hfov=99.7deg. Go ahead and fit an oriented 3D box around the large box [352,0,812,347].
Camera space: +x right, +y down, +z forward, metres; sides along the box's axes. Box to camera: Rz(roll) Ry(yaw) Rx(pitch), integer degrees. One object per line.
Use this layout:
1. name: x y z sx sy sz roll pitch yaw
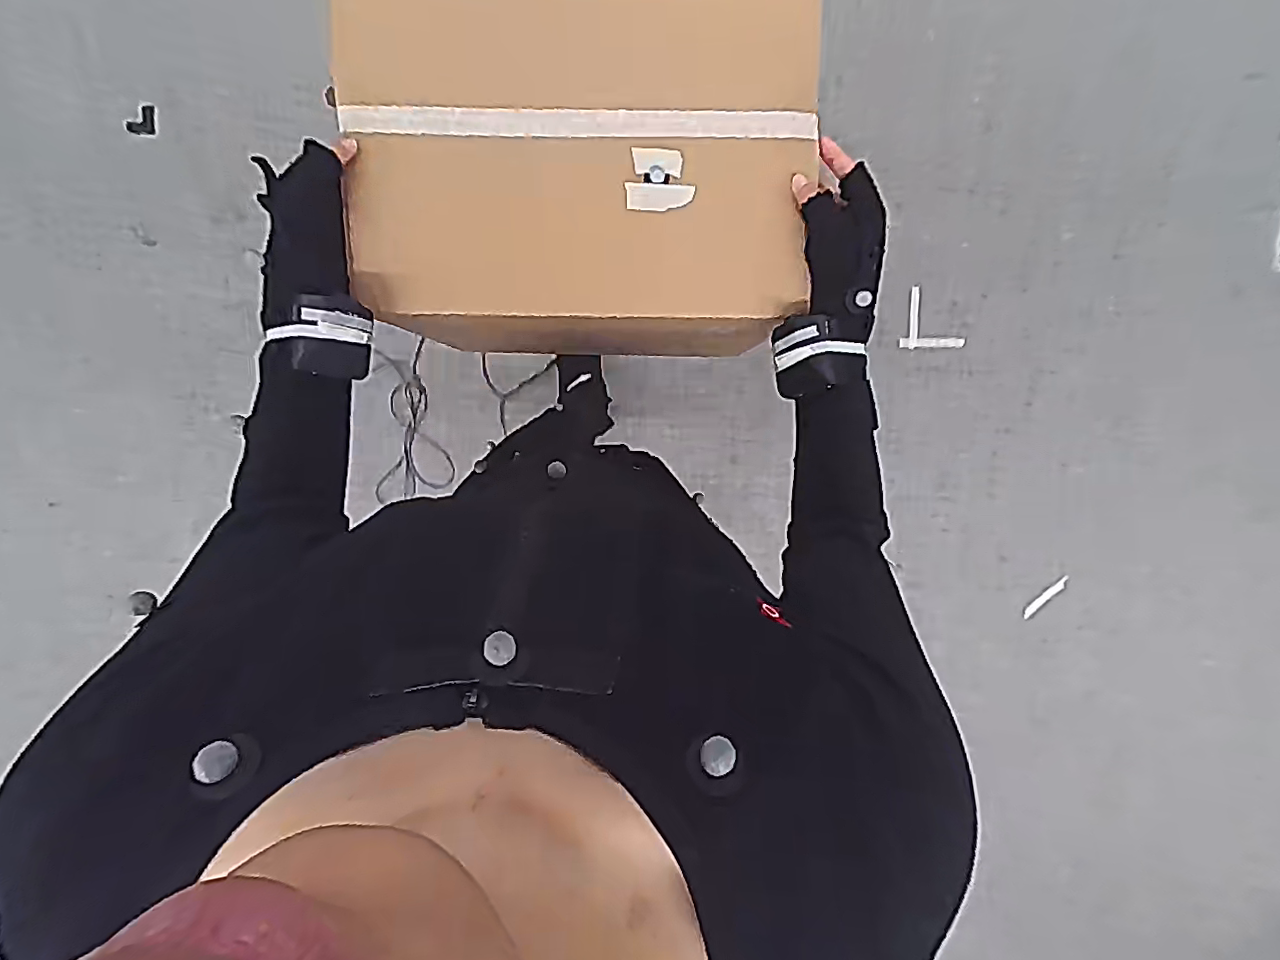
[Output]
1. large box: -0.053 -0.331 0.624 0.408 0.320 0.320 0 98 -1
